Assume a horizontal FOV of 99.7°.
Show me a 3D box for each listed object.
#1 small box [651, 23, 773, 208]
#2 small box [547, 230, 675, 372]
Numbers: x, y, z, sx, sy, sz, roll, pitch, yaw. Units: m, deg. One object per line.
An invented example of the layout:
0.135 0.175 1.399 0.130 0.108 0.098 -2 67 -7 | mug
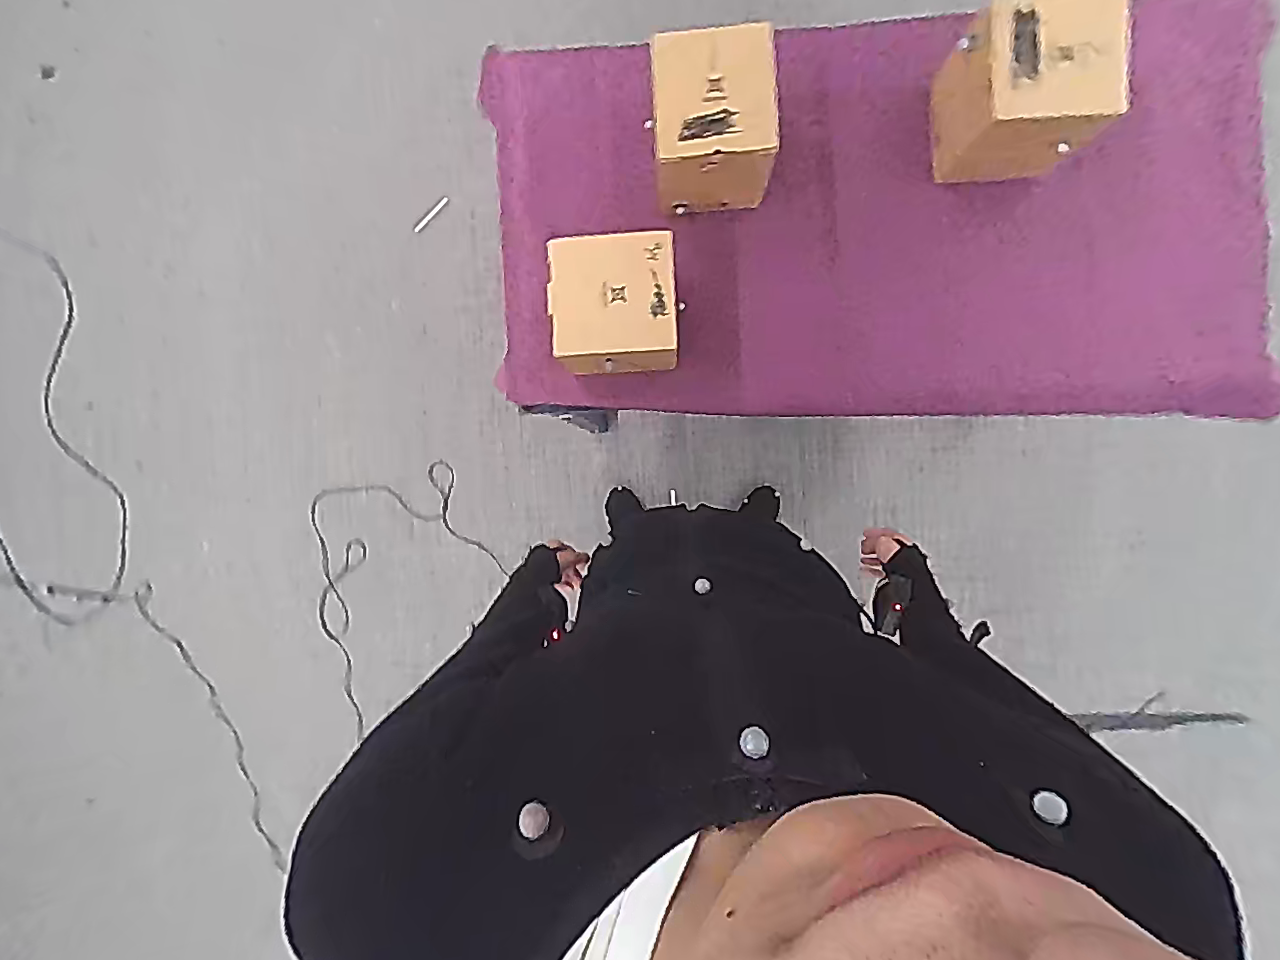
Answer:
0.105 -0.535 0.823 0.168 0.176 0.179 -3 91 3 | small box
-0.036 -0.264 0.835 0.179 0.176 0.168 -2 92 4 | small box
